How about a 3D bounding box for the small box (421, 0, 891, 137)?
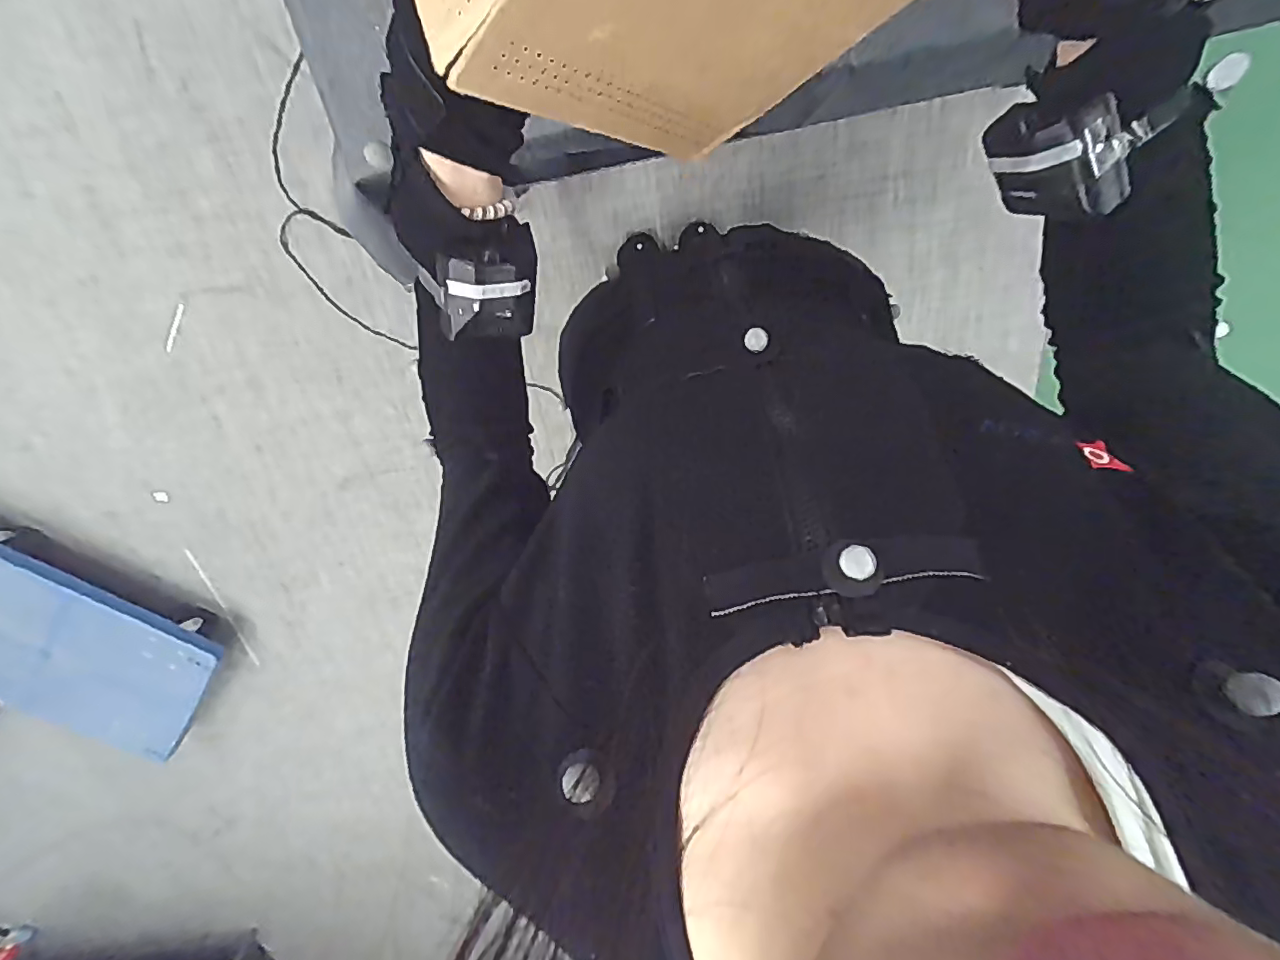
[{"bbox_3d":[0.014,-0.275,0.215,0.176,0.179,0.168,-12,95,45],"label":"small box"}]
